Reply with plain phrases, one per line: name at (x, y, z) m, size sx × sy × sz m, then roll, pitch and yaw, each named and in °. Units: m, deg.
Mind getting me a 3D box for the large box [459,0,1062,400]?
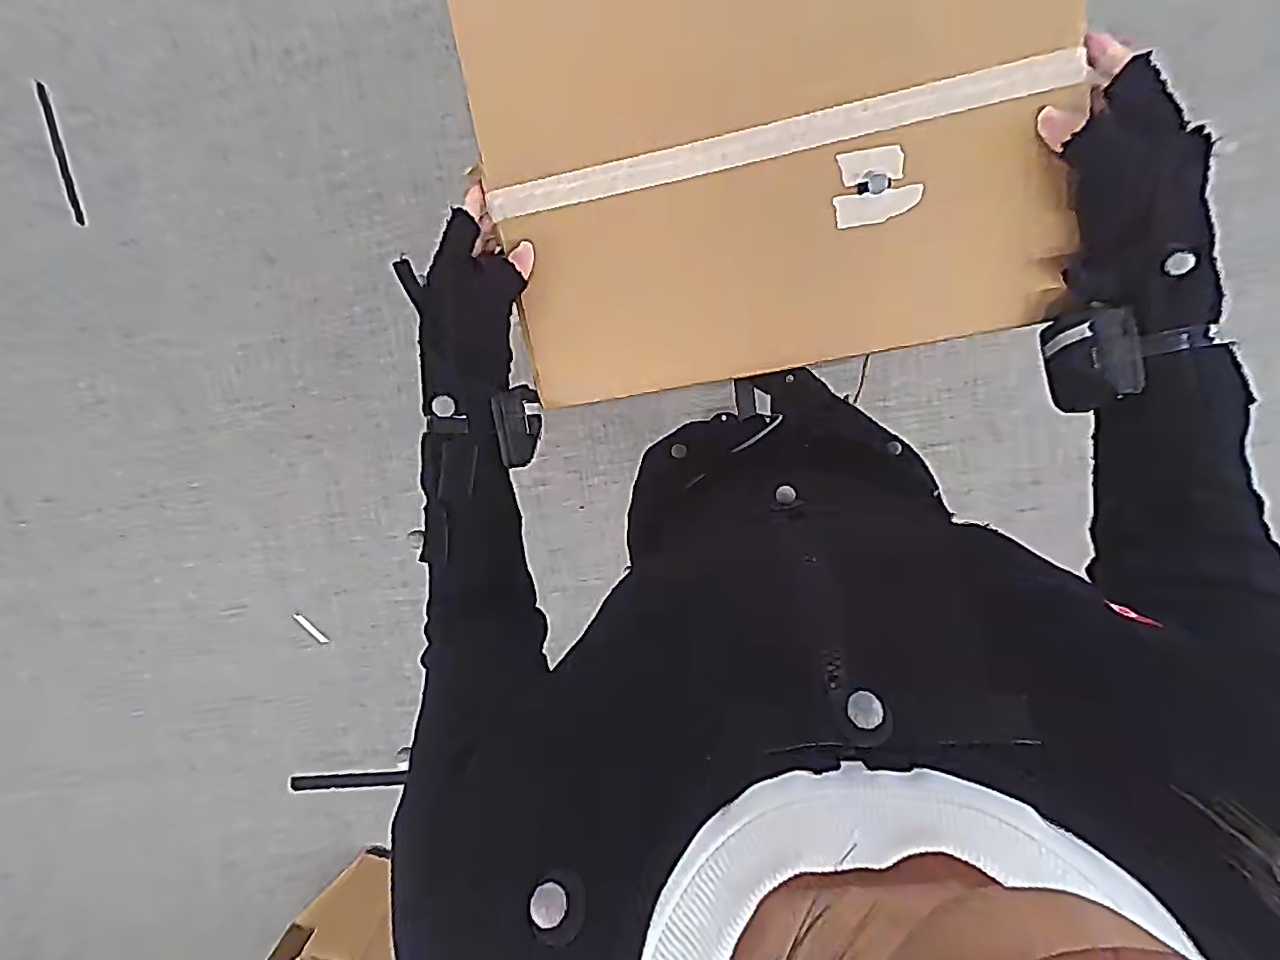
large box at (0.102, -0.280, 0.537) m, size 0.408 × 0.320 × 0.320 m, roll -9°, pitch 103°, yaw 8°
